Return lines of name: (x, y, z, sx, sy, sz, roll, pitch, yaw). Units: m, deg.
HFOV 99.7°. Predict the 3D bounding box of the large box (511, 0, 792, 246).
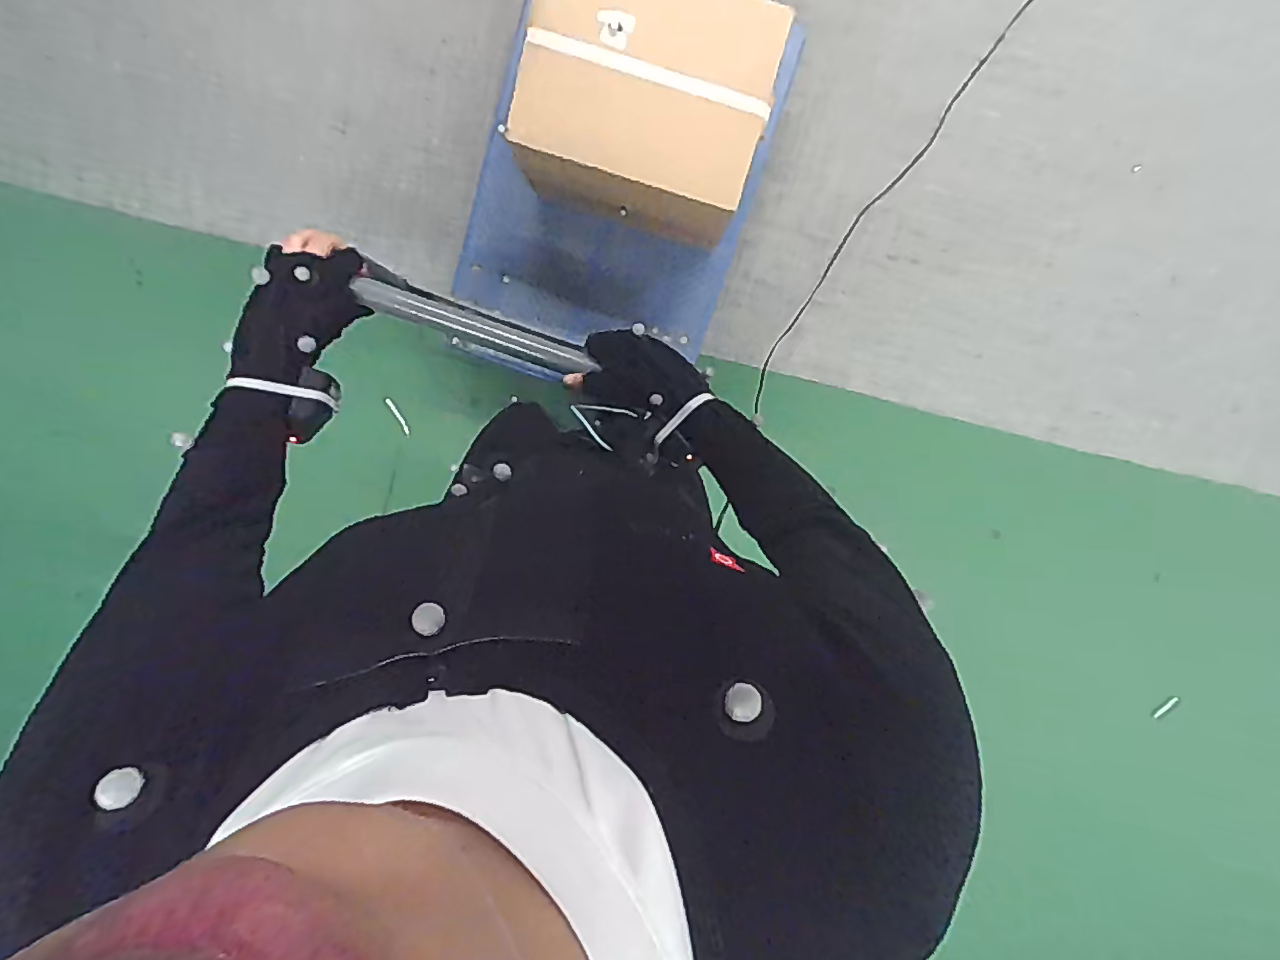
large box: (0.017, -0.679, 1.023, 0.408, 0.320, 0.320, 16, 100, -2)
